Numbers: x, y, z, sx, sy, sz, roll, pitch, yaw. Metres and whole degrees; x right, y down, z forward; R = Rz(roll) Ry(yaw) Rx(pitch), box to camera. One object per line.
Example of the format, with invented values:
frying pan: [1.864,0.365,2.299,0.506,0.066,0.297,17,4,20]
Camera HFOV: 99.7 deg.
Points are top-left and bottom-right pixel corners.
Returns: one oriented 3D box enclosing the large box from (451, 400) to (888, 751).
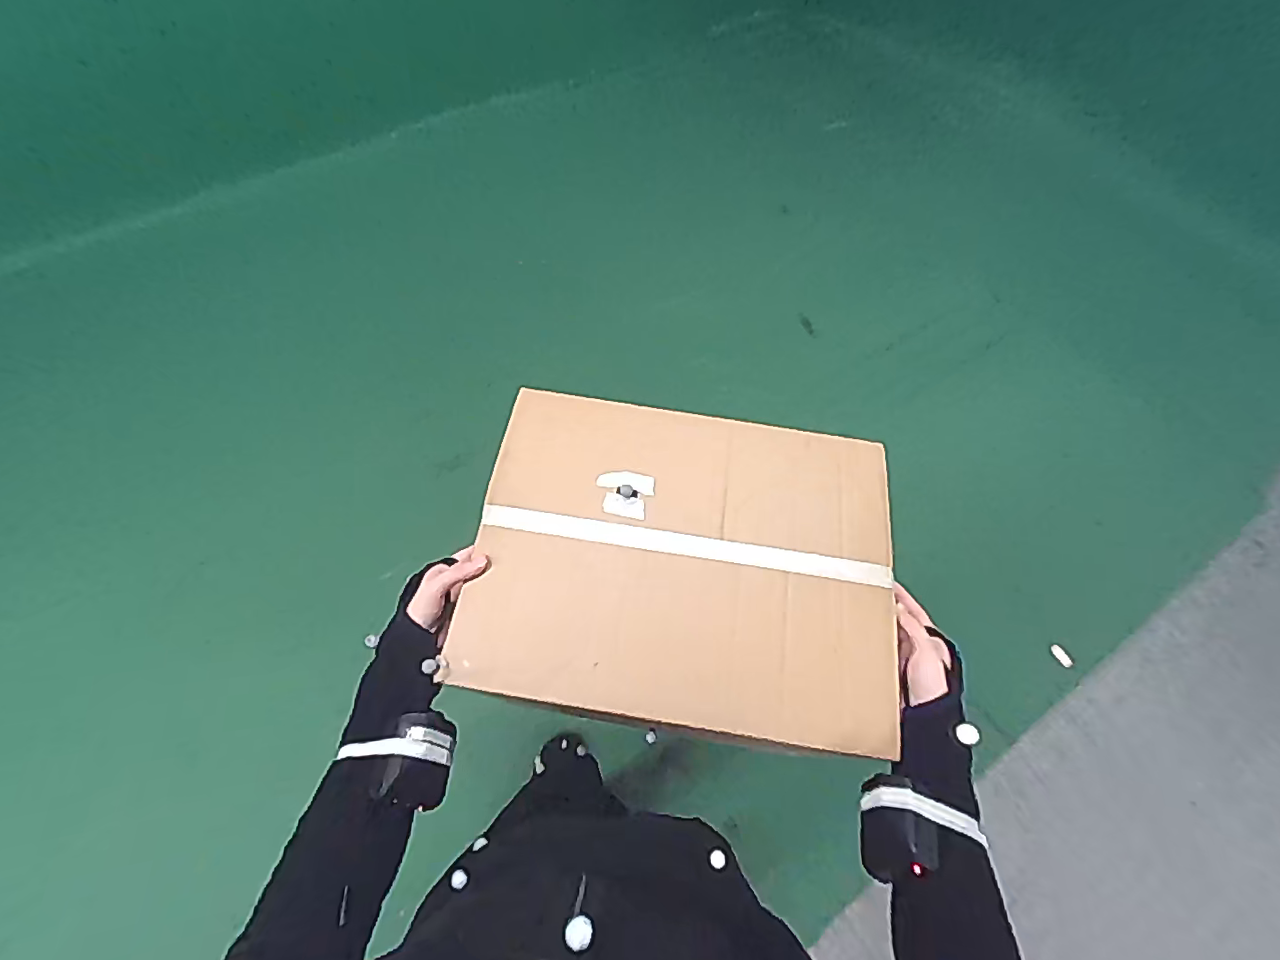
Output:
large box: [0.044,0.135,0.679,0.408,0.320,0.320,10,64,3]
